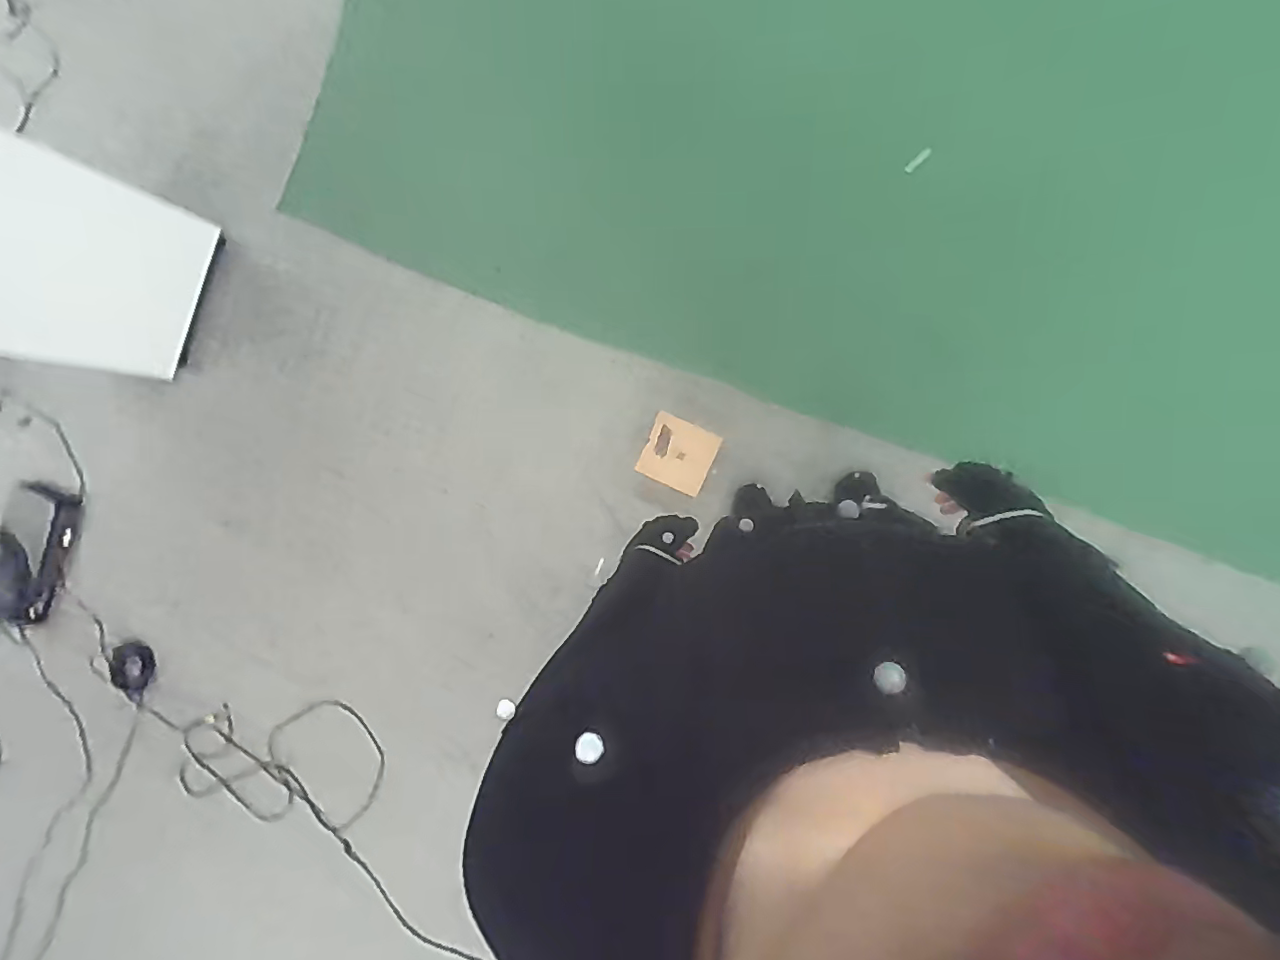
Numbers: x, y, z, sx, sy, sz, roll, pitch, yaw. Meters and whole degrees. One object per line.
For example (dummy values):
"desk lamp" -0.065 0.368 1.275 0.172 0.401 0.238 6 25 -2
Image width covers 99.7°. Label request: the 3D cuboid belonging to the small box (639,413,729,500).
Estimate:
"small box" 0.118 -0.058 1.406 0.179 0.176 0.168 25 95 8
